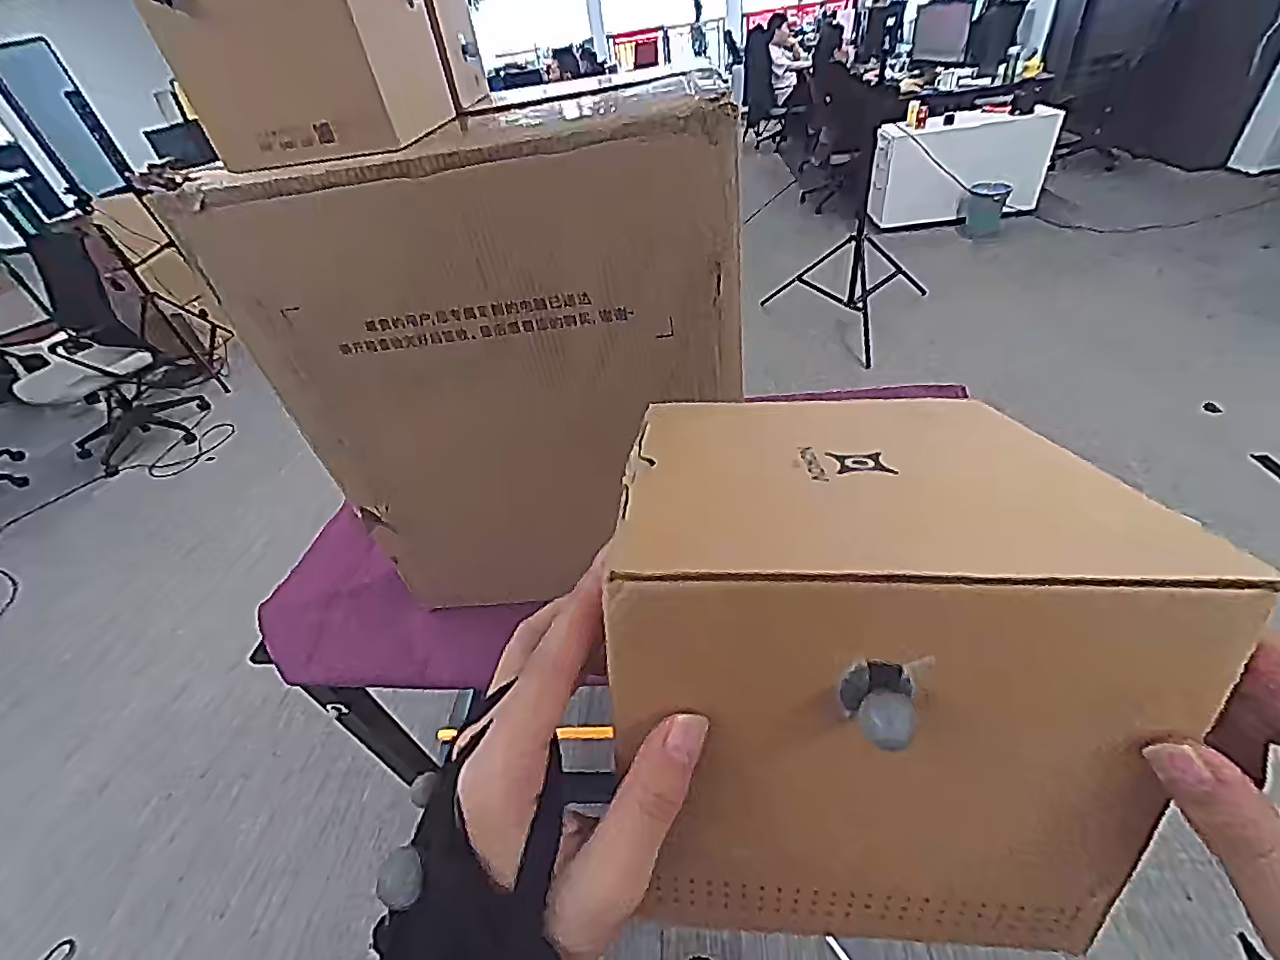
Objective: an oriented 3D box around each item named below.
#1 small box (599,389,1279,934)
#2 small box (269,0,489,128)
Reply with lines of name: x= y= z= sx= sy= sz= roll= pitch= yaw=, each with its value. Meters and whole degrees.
small box: x=0.085 y=0.064 z=0.245 sx=0.179 sy=0.176 sz=0.168 roll=-1 pitch=24 yaw=6
small box: x=-0.294 y=-0.517 z=0.617 sx=0.179 sy=0.176 sz=0.168 roll=-5 pitch=41 yaw=3
